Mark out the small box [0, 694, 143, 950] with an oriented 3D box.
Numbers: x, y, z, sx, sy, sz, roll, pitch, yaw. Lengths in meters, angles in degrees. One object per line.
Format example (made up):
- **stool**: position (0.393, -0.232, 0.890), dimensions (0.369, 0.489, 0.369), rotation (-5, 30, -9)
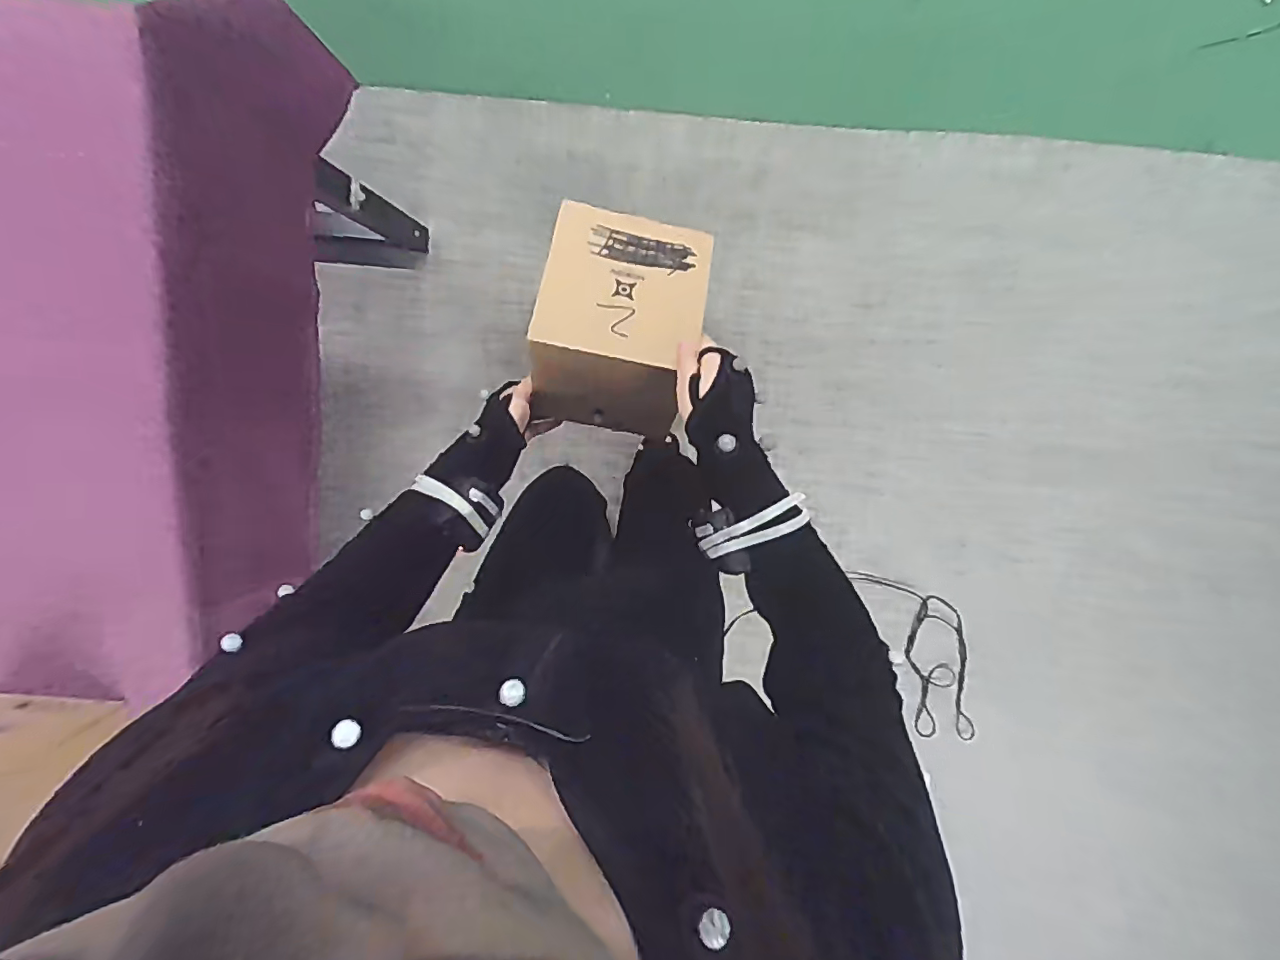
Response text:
- **small box**: position (-0.695, 0.356, 0.585), dimensions (0.168, 0.176, 0.179), rotation (4, 100, 0)
